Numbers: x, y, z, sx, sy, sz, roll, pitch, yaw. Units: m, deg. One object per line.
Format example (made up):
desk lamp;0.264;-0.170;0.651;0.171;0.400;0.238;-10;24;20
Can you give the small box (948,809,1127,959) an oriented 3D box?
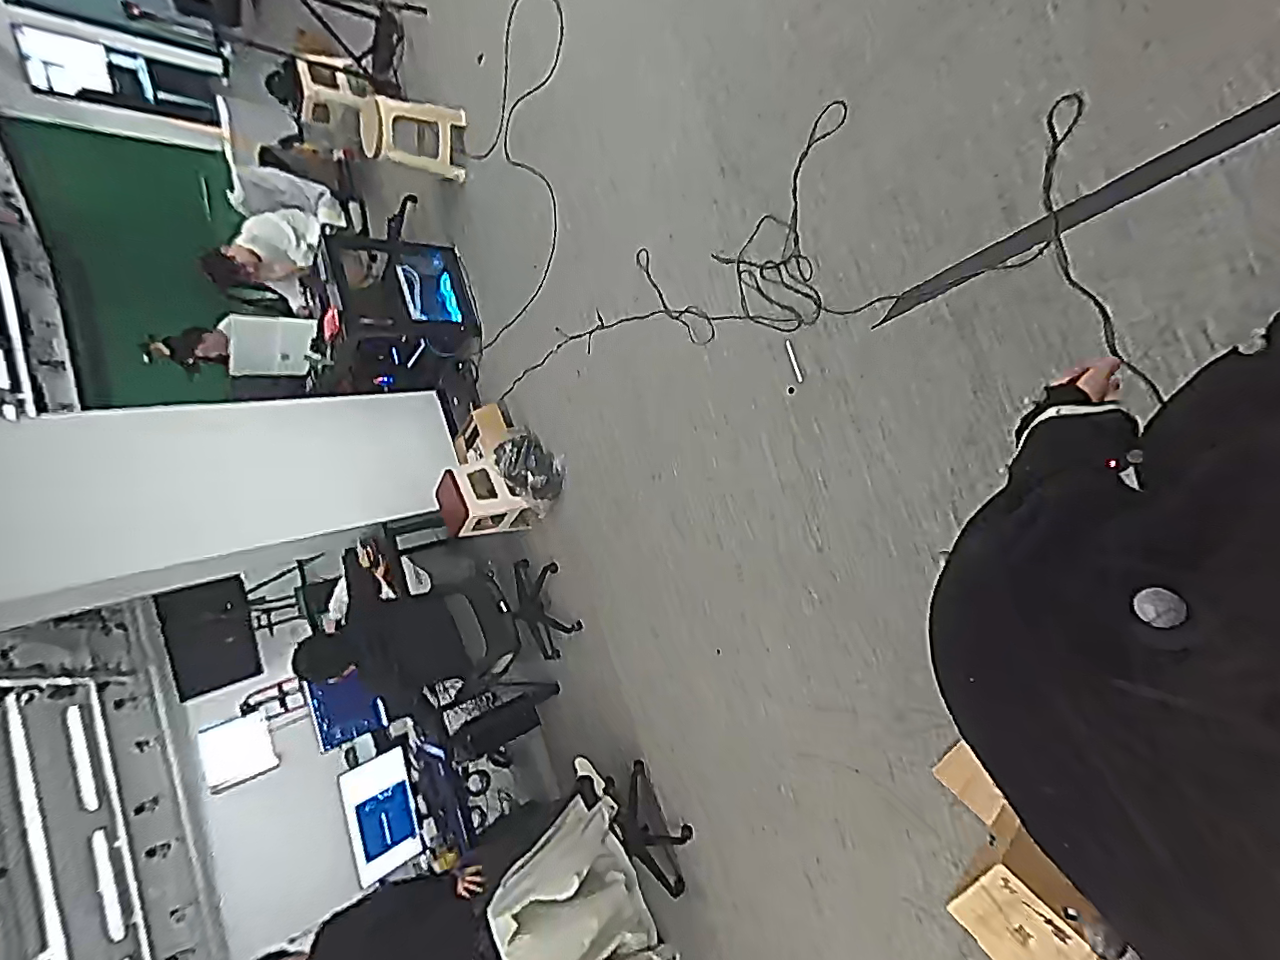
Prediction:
small box;0.675;0.713;0.918;0.168;0.176;0.179;40;129;35
